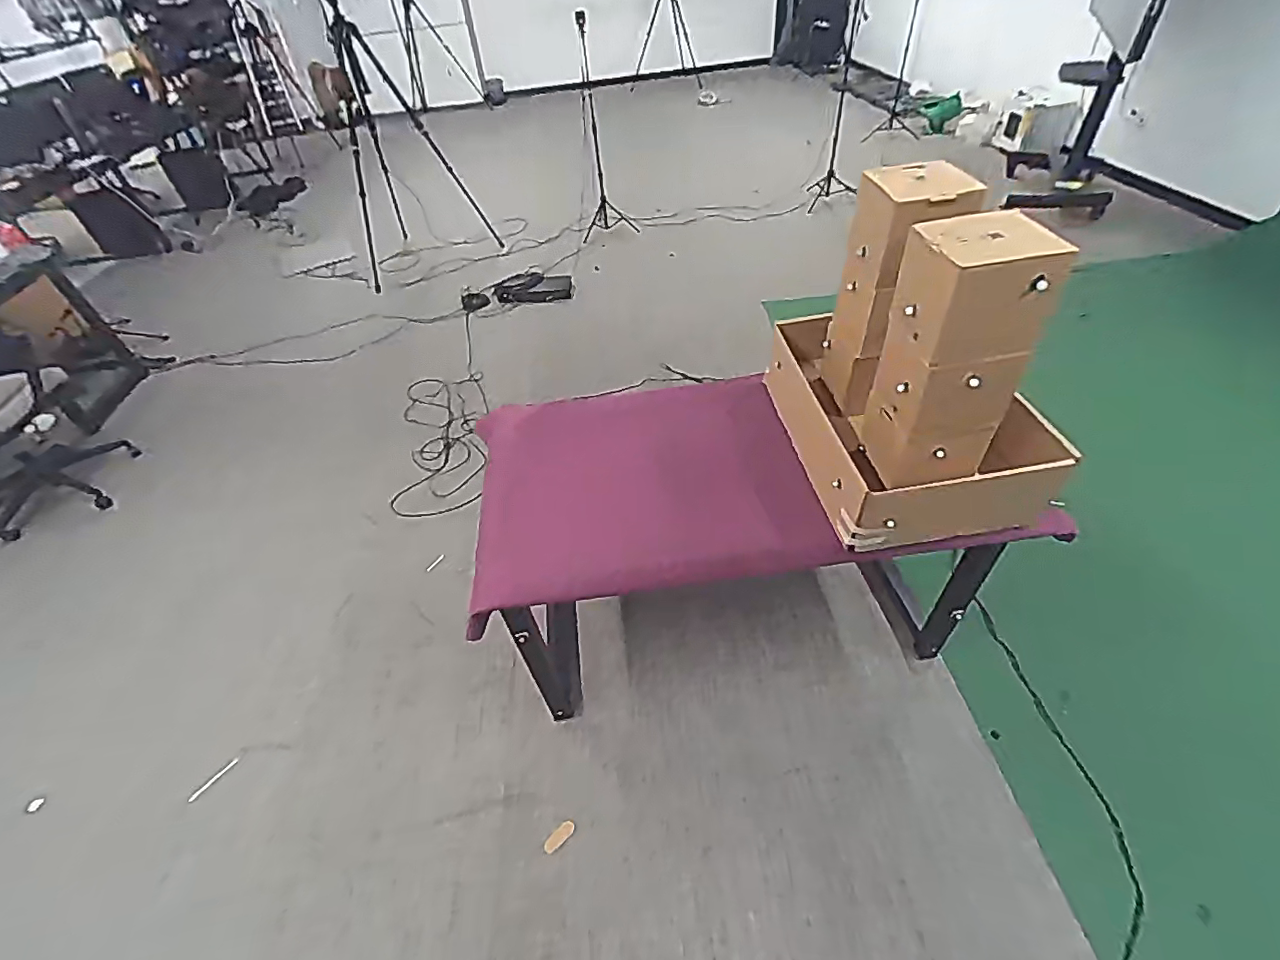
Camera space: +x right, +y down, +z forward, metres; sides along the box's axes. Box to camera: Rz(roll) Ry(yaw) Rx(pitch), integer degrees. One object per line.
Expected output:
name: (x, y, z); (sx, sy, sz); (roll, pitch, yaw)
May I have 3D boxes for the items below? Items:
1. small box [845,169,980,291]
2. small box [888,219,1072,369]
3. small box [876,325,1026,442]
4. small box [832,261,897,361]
small box: (0.528, -0.491, 1.077); (0.168, 0.176, 0.179); (-7, 47, 0)
small box: (0.540, -0.304, 0.891); (0.179, 0.176, 0.168); (-8, 45, 1)
small box: (0.557, -0.187, 1.006); (0.179, 0.176, 0.168); (-7, 45, 1)
small box: (0.541, -0.377, 1.194); (0.168, 0.176, 0.179); (-7, 46, 0)
